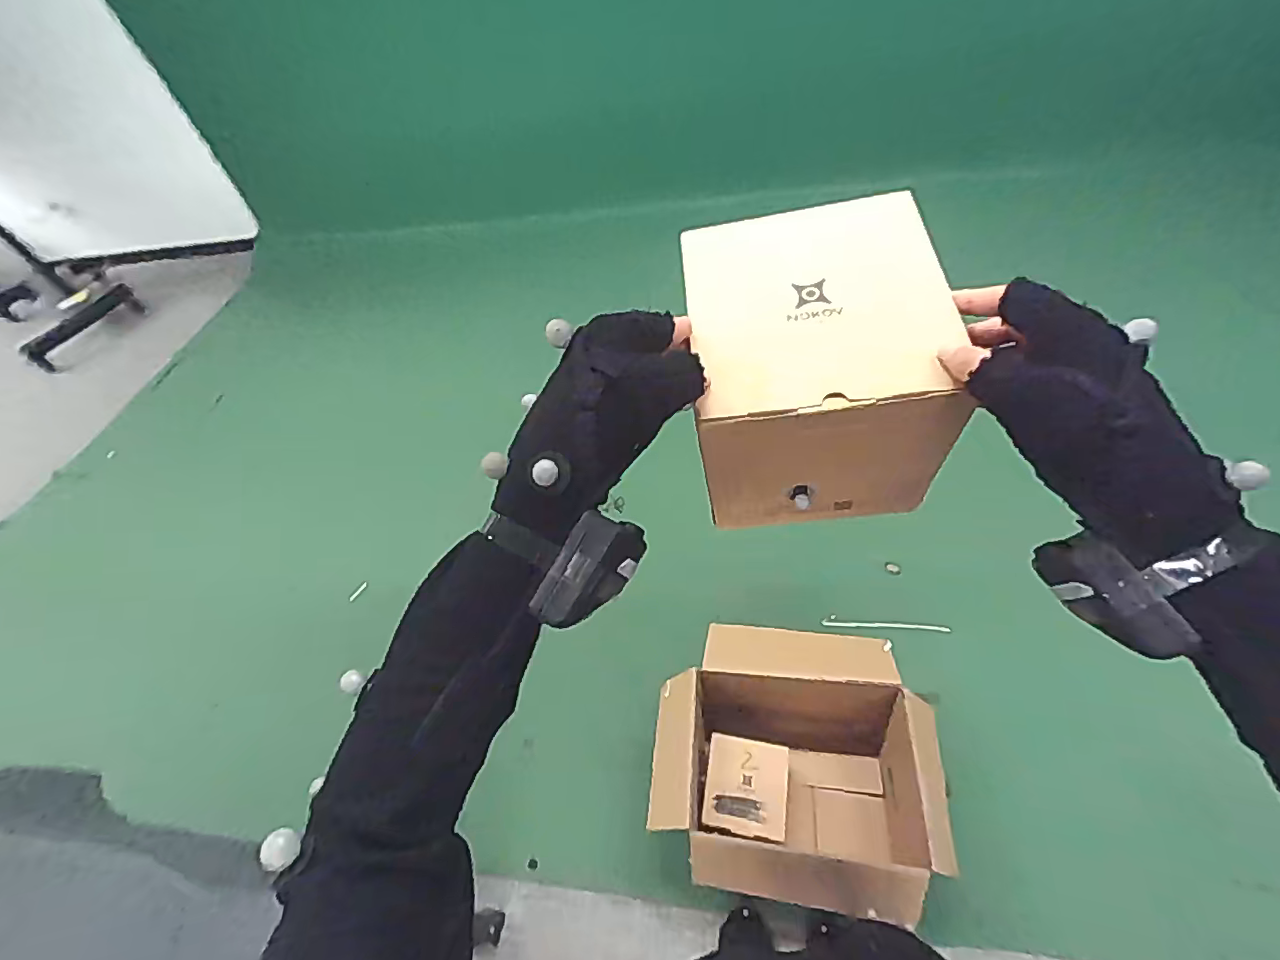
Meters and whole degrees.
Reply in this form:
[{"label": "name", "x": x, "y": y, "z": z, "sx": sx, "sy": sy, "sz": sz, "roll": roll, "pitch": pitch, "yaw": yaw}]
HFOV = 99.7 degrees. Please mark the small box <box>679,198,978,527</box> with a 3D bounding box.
[{"label": "small box", "x": 0.124, "y": -0.079, "z": 0.426, "sx": 0.168, "sy": 0.176, "sz": 0.179, "roll": -7, "pitch": 63, "yaw": 9}]
